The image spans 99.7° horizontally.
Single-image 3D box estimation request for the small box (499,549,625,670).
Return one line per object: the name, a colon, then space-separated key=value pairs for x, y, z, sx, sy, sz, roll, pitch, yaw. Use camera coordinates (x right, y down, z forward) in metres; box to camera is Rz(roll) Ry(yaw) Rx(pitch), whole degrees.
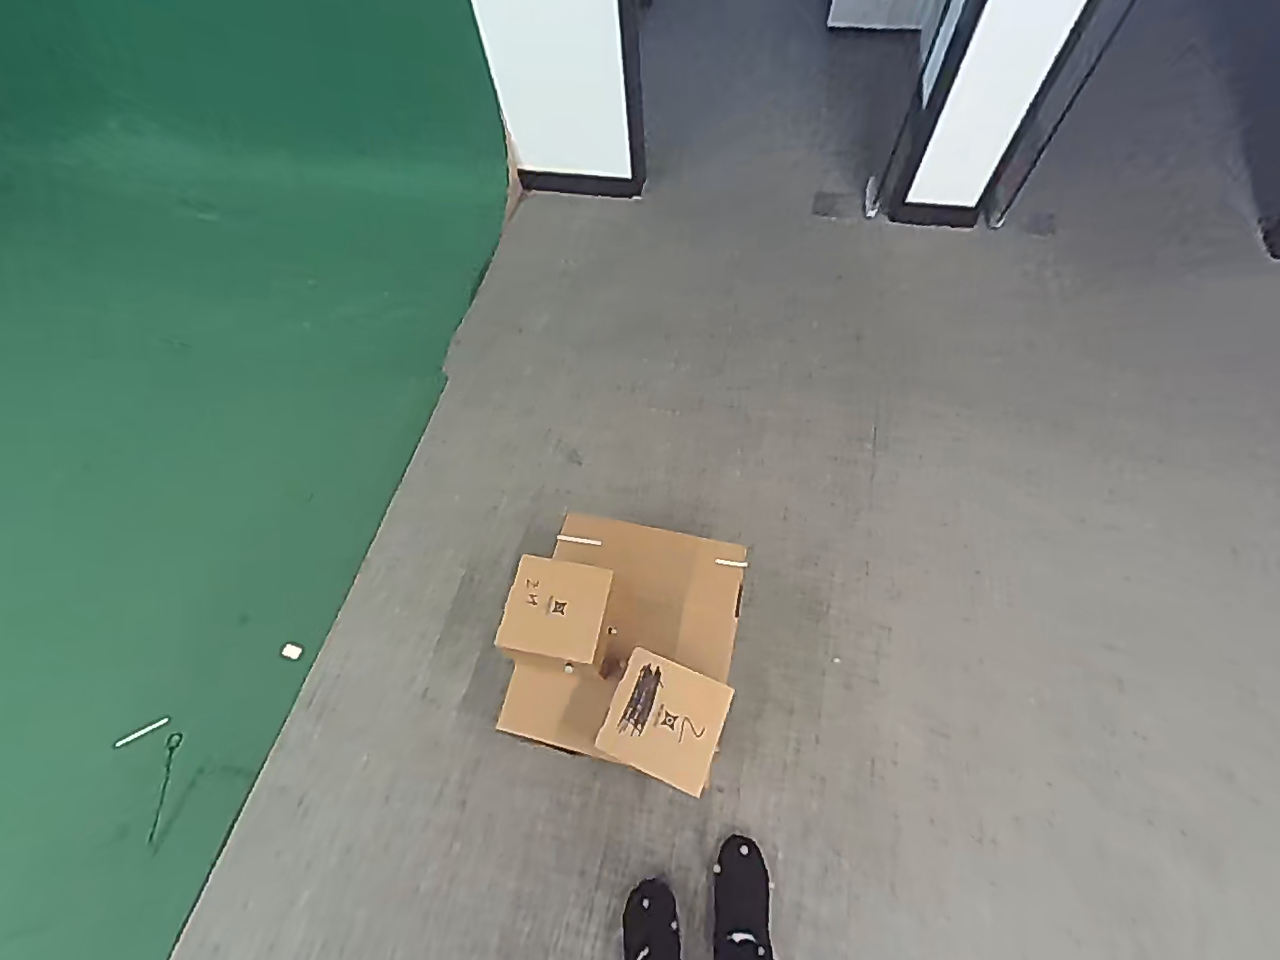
small box: x=-0.132 y=0.246 z=1.004 sx=0.179 sy=0.176 sz=0.168 roll=9 pitch=63 yaw=9
